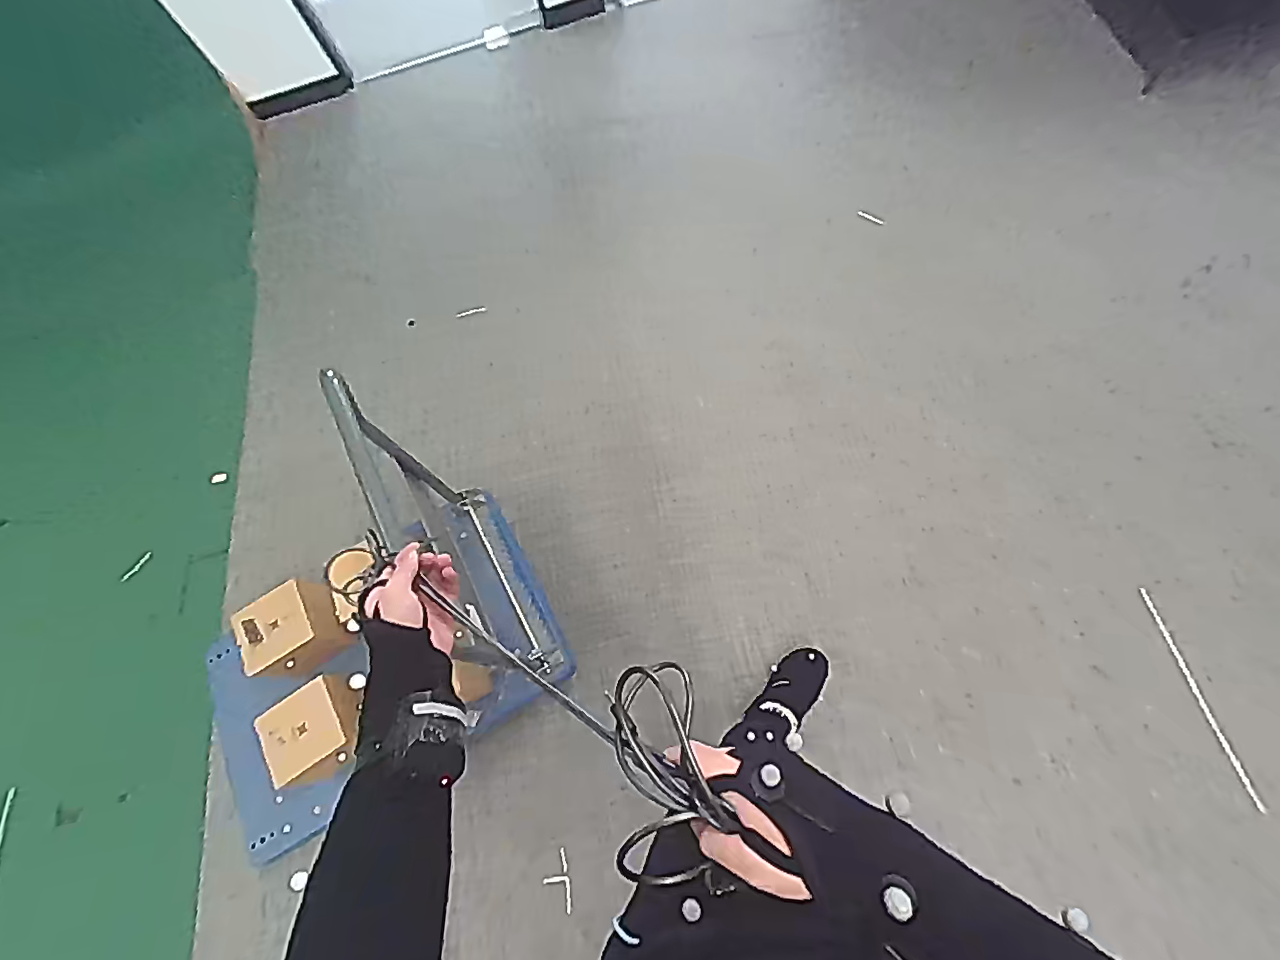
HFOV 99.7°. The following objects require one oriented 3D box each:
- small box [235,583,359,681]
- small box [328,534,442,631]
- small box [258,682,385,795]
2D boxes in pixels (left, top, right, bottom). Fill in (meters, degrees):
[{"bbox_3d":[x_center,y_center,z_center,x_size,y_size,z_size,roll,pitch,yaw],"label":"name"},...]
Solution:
[{"bbox_3d":[-0.847,0.385,1.346,0.179,0.176,0.168,-32,68,-4],"label":"small box"},{"bbox_3d":[-0.635,0.265,1.358,0.179,0.176,0.168,-29,68,-2],"label":"small box"},{"bbox_3d":[-0.722,0.586,1.250,0.179,0.176,0.168,-34,67,-4],"label":"small box"}]
